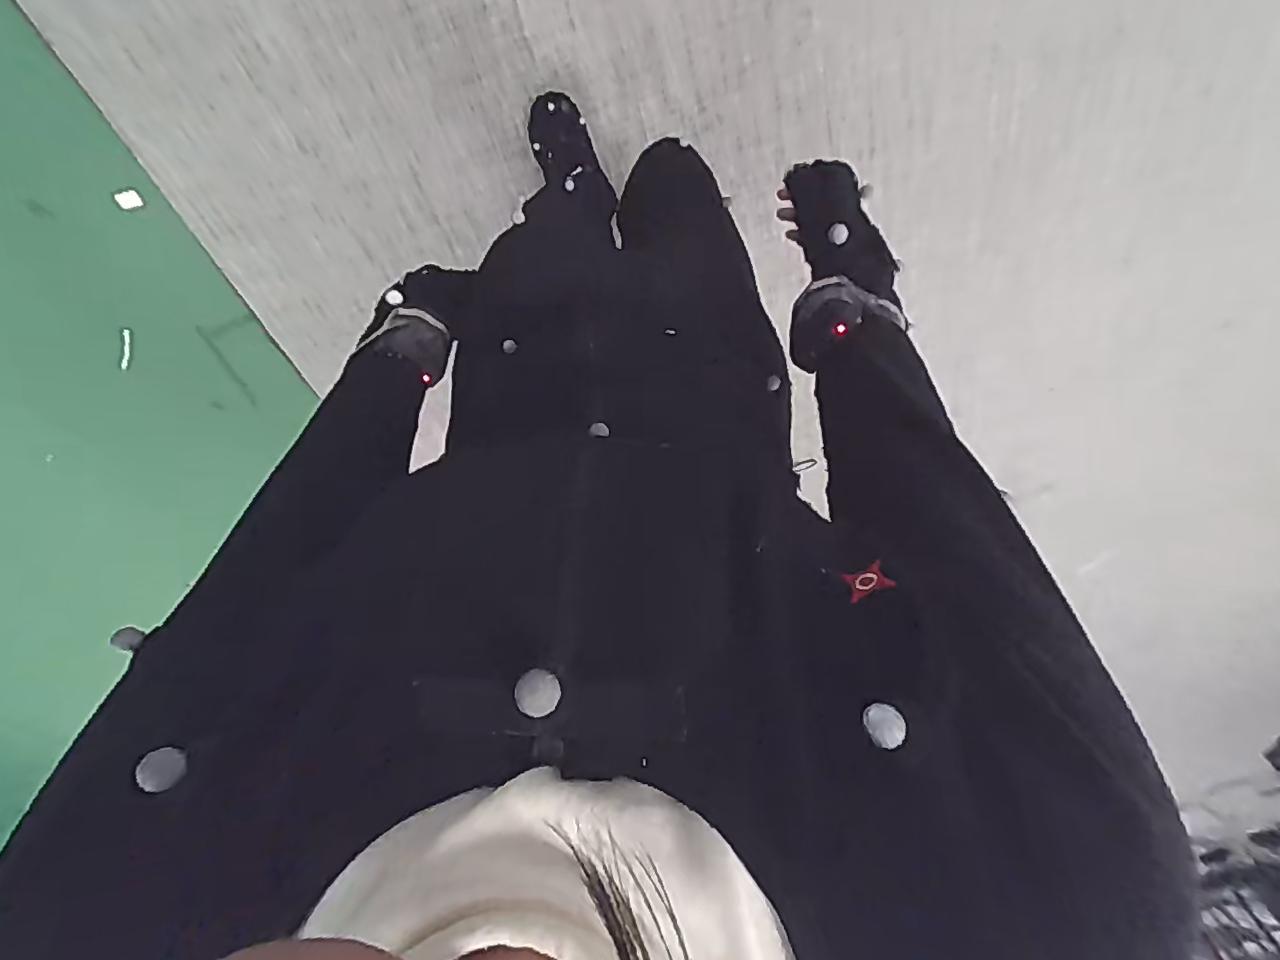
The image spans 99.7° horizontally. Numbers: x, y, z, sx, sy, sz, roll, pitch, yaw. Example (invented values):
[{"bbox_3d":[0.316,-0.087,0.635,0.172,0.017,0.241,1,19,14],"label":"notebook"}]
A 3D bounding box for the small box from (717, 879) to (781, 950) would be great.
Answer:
[{"bbox_3d":[0.376,1.527,1.888,0.179,0.176,0.168,-18,130,8],"label":"small box"}]

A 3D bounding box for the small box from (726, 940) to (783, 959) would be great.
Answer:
[{"bbox_3d":[0.385,1.630,1.761,0.179,0.176,0.168,-15,130,8],"label":"small box"}]
